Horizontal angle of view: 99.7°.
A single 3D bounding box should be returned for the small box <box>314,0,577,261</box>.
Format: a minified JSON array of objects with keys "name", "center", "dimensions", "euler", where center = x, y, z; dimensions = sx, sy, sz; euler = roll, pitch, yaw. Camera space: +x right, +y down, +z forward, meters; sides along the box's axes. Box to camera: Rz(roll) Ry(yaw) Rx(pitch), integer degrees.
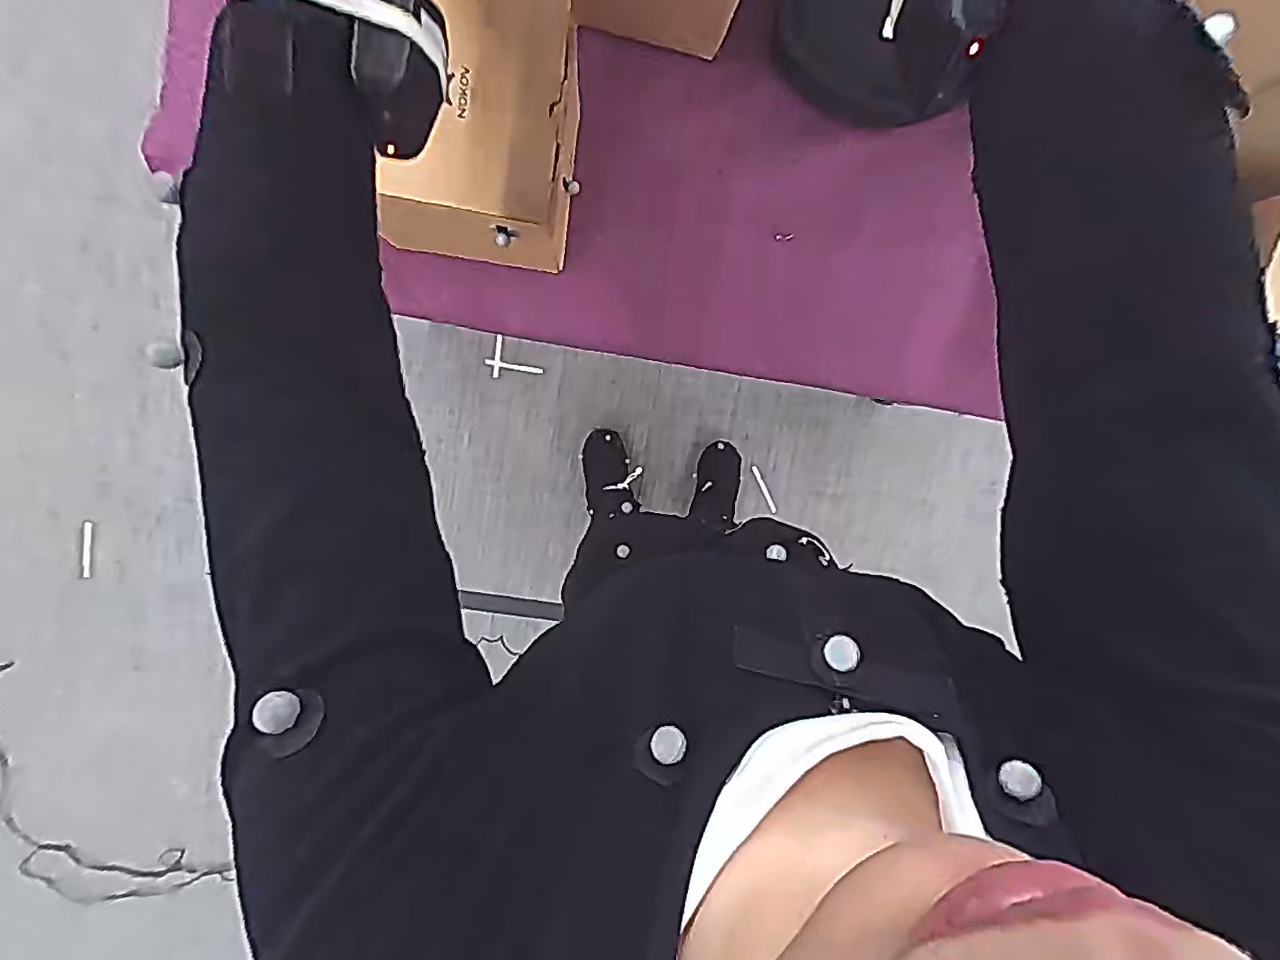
[{"name":"small box","center":[-0.152,-0.305,0.475],"dimensions":[0.179,0.176,0.168],"euler":[6,98,-8]}]
